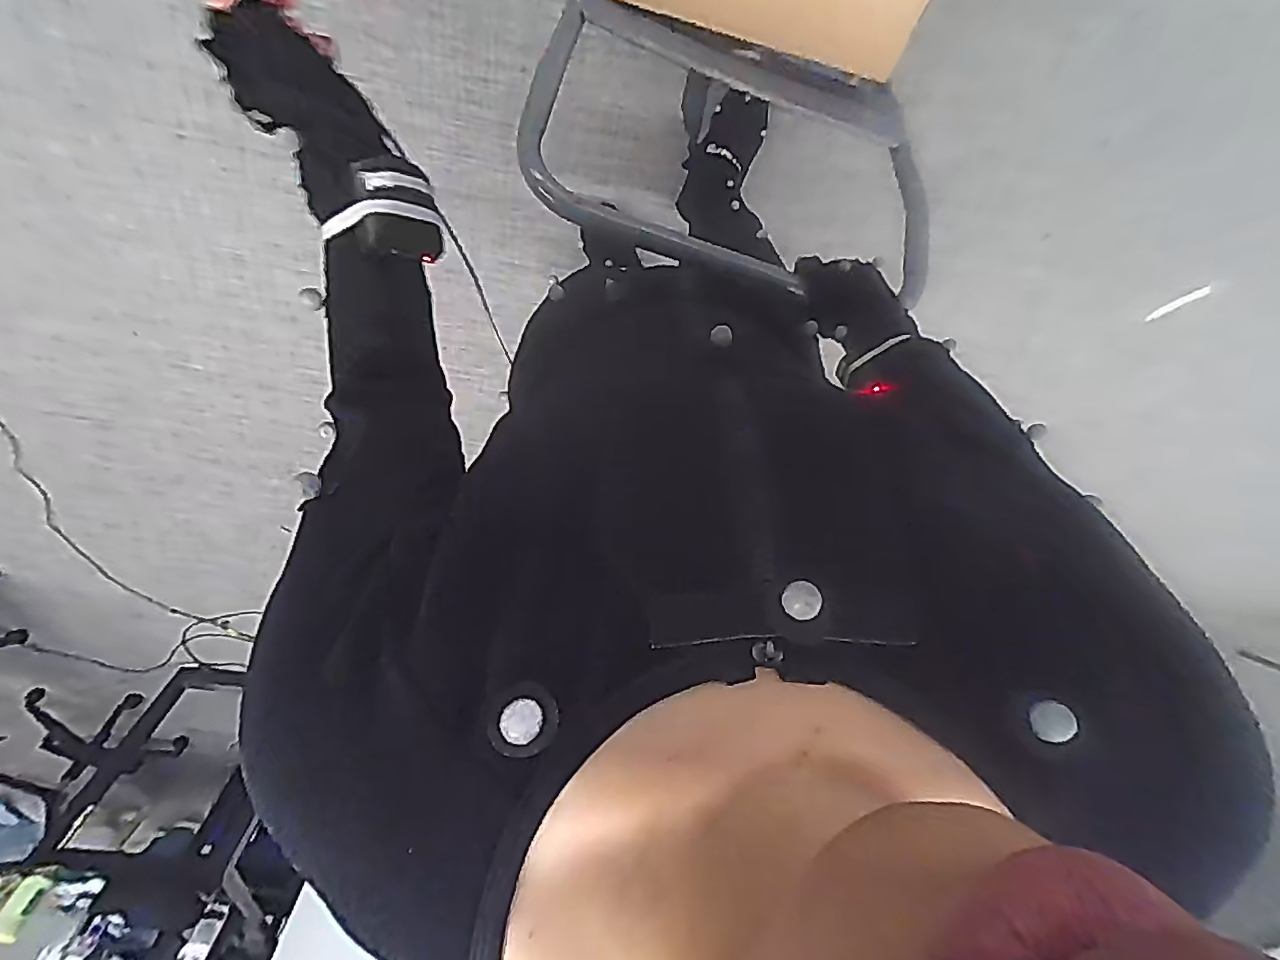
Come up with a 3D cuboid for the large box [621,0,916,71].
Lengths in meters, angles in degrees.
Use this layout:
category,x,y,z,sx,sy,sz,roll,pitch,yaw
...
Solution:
category,x,y,z,sx,sy,sz,roll,pitch,yaw
large box,0.193,-0.824,0.716,0.408,0.320,0.320,10,145,-8
